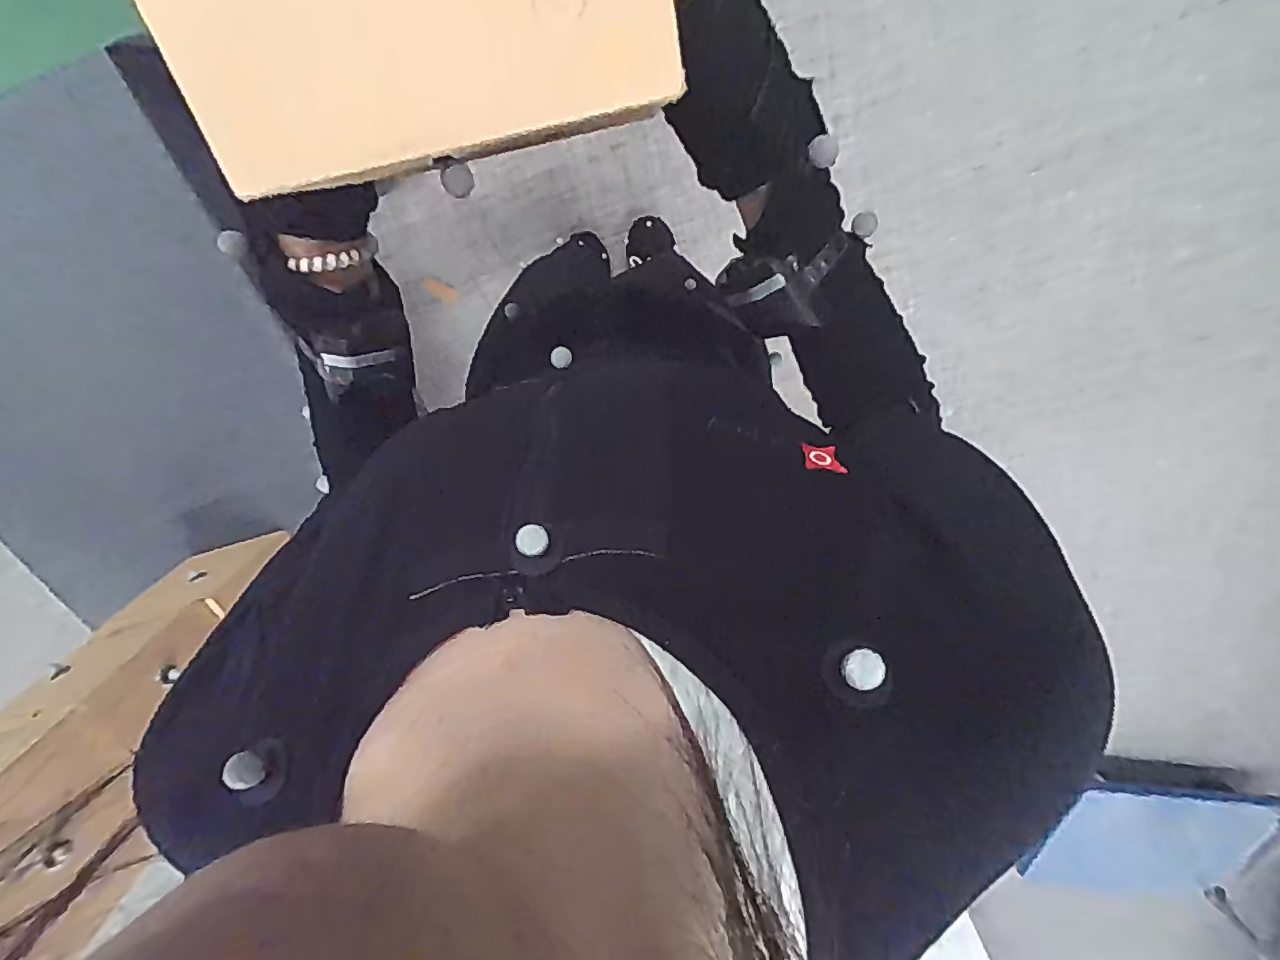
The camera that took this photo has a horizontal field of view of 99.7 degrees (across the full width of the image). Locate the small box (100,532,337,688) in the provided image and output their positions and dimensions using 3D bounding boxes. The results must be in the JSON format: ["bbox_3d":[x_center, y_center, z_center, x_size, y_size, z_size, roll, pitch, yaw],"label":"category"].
[{"bbox_3d":[-0.596,0.201,0.794,0.179,0.176,0.168,-16,115,7],"label":"small box"}]

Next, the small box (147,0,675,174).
[{"bbox_3d":[-0.083,-0.237,0.213,0.168,0.176,0.179,-11,120,4],"label":"small box"}]

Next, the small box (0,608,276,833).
[{"bbox_3d":[-0.599,0.276,0.650,0.168,0.176,0.179,-17,115,10],"label":"small box"}]
